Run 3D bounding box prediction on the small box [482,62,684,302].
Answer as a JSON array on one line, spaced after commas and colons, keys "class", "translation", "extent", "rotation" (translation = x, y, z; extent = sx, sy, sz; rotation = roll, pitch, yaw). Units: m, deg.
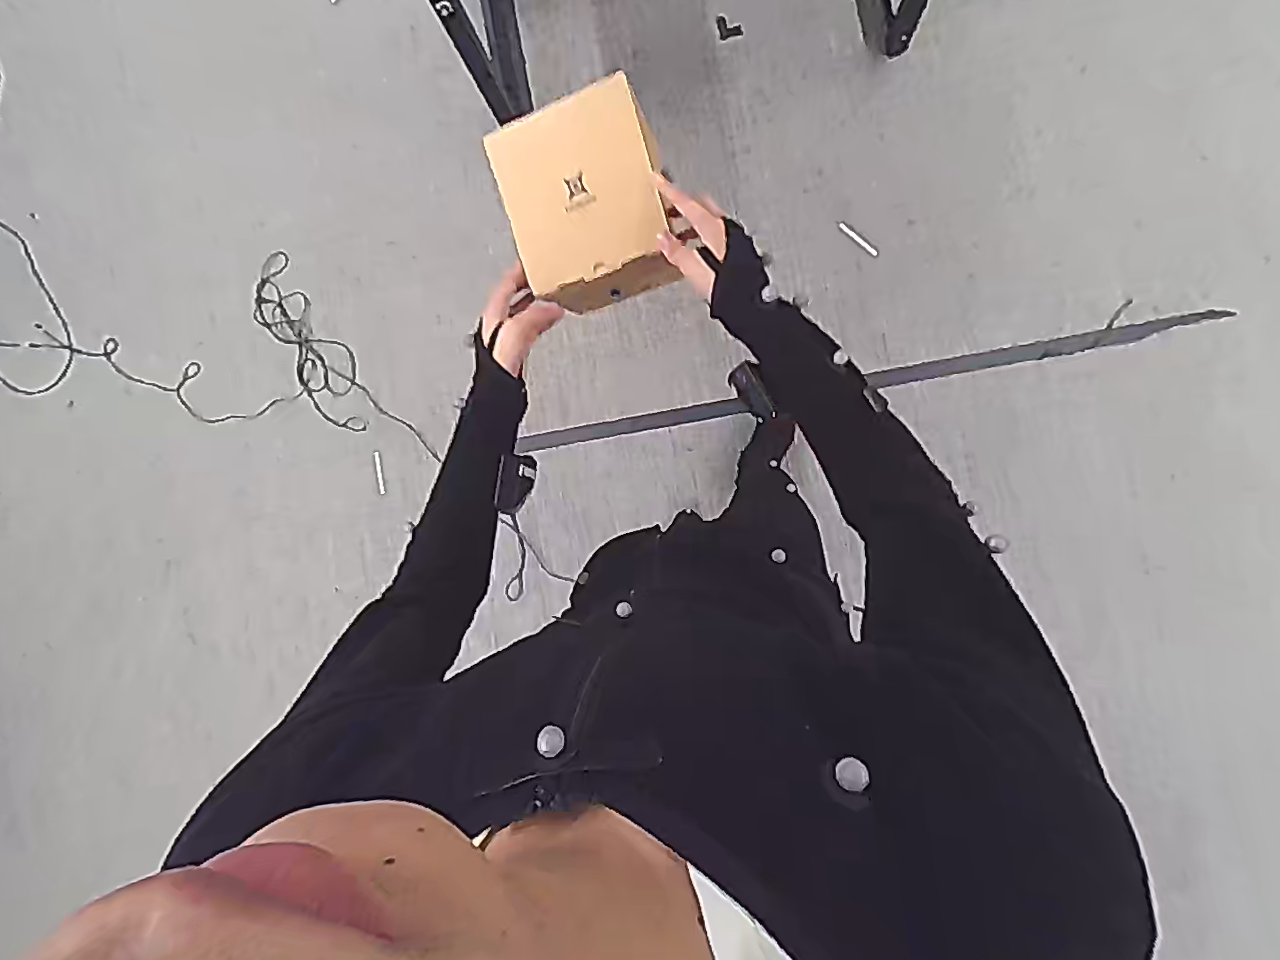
[{"class": "small box", "translation": [-0.054, -0.329, 0.641], "extent": [0.168, 0.176, 0.179], "rotation": [-16, 98, 14]}]
